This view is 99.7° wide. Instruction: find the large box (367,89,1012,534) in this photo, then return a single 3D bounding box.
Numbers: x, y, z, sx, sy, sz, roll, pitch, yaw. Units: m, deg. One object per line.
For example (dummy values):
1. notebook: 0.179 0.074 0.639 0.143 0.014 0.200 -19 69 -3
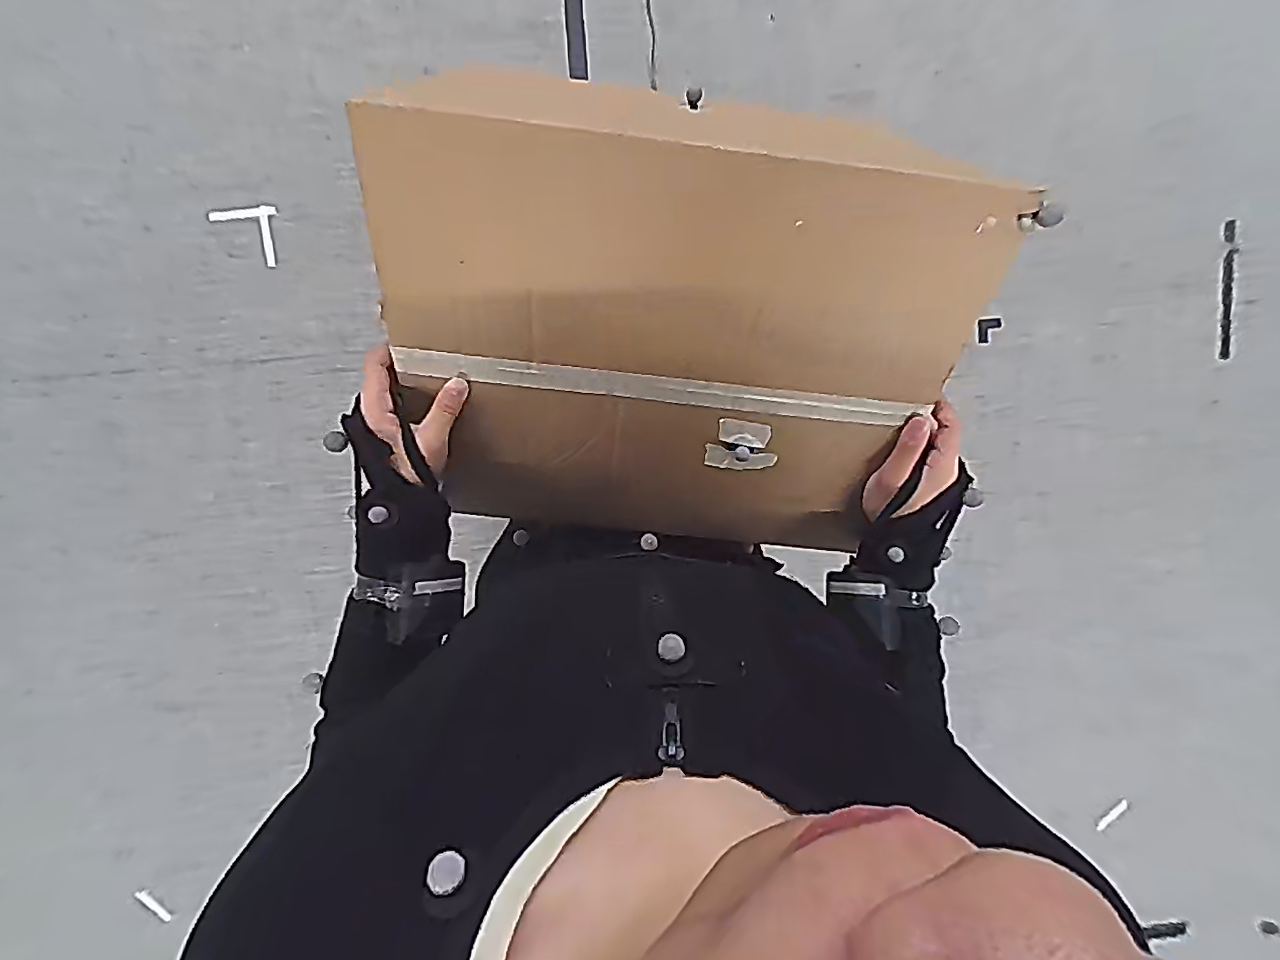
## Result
1. large box: 0.022 -0.172 0.534 0.408 0.320 0.320 5 131 -3
